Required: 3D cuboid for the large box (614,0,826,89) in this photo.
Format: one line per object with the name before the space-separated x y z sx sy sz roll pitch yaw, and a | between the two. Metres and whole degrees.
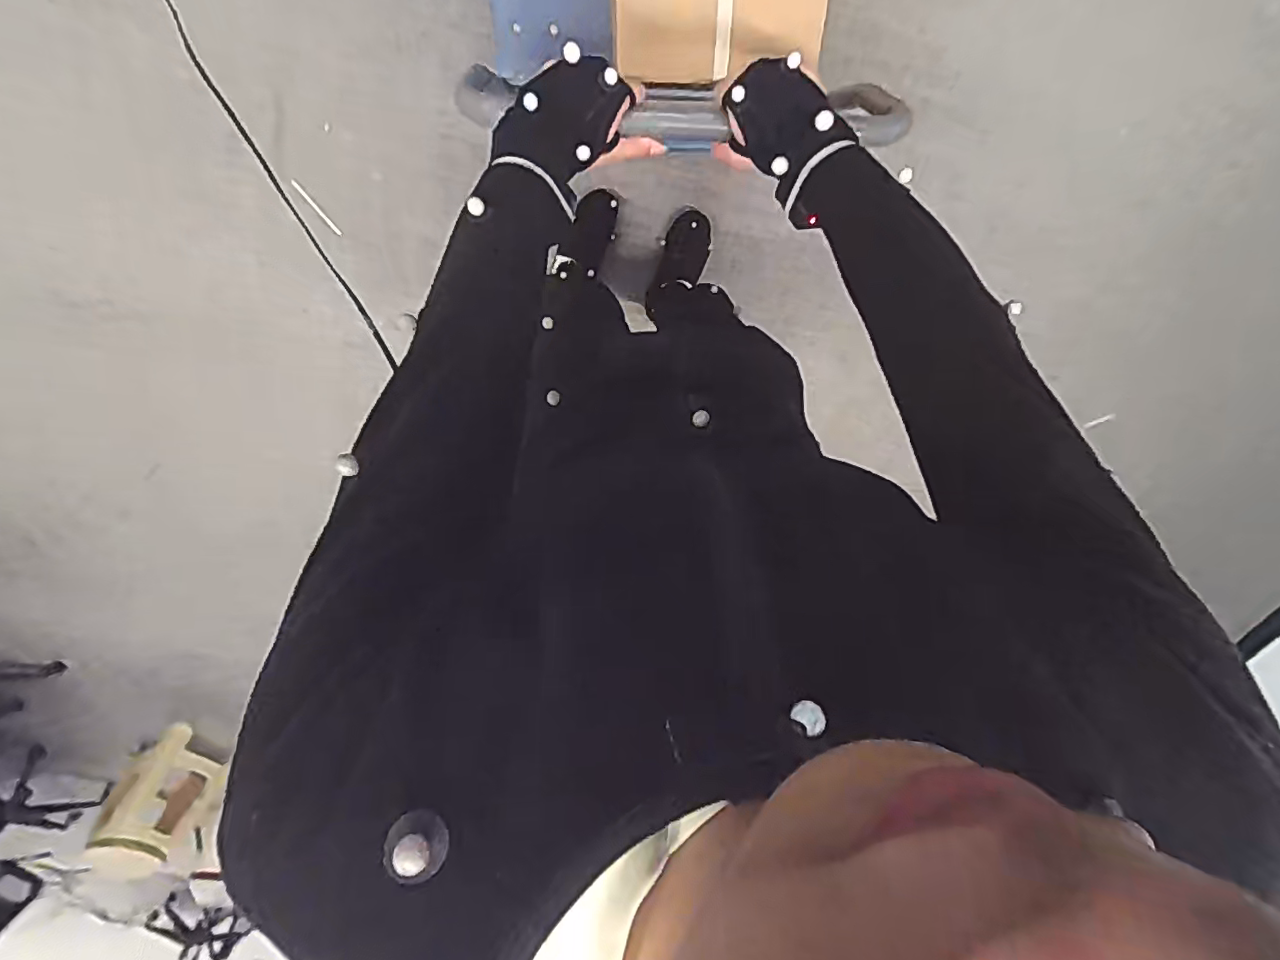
large box | 0.111 -0.869 0.847 0.320 0.320 0.408 -1 123 -4
